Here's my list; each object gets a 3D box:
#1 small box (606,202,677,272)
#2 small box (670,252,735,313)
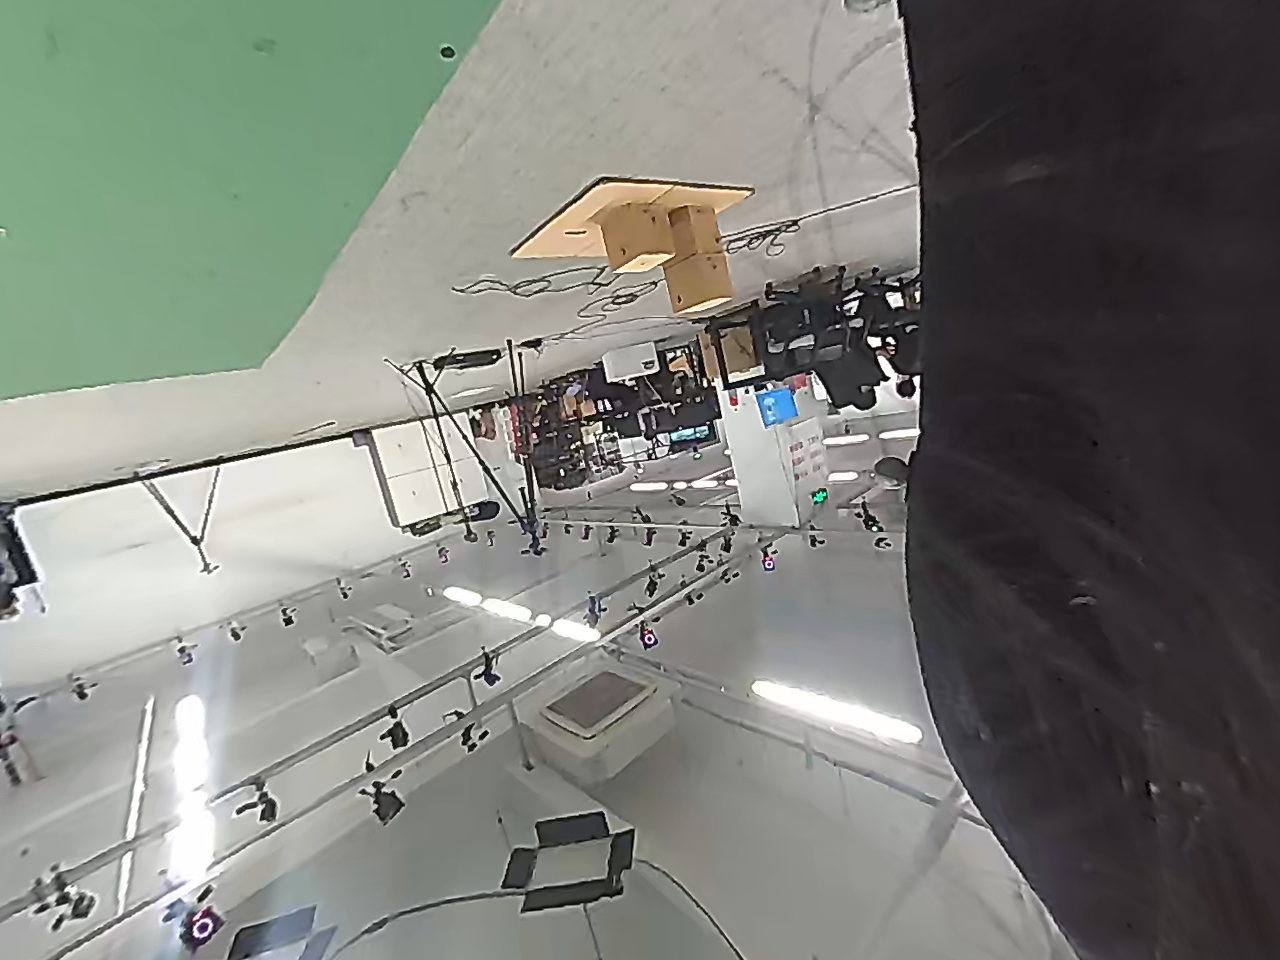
[{"bbox_3d":[-0.001,-0.834,1.865,0.168,0.176,0.179,-19,-171,-36],"label":"small box"},{"bbox_3d":[0.229,-0.742,2.032,0.168,0.176,0.179,-22,-169,-40],"label":"small box"}]
